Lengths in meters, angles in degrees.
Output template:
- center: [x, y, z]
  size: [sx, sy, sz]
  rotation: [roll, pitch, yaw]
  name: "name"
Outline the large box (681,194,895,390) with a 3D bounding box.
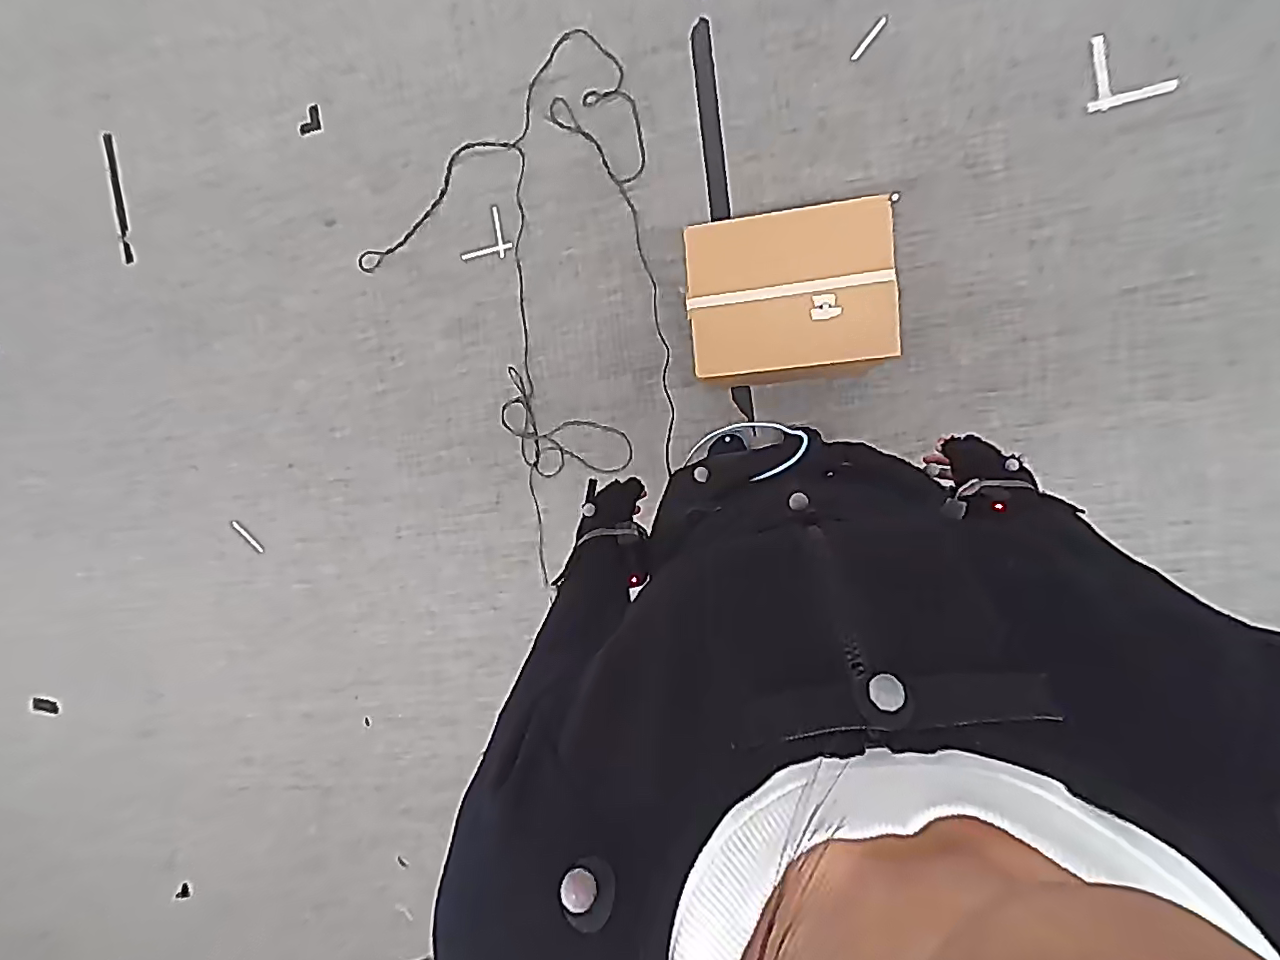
- center: [0.320, -0.398, 1.243]
  size: [0.408, 0.320, 0.320]
  rotation: [-5, 94, 10]
  name: "large box"
